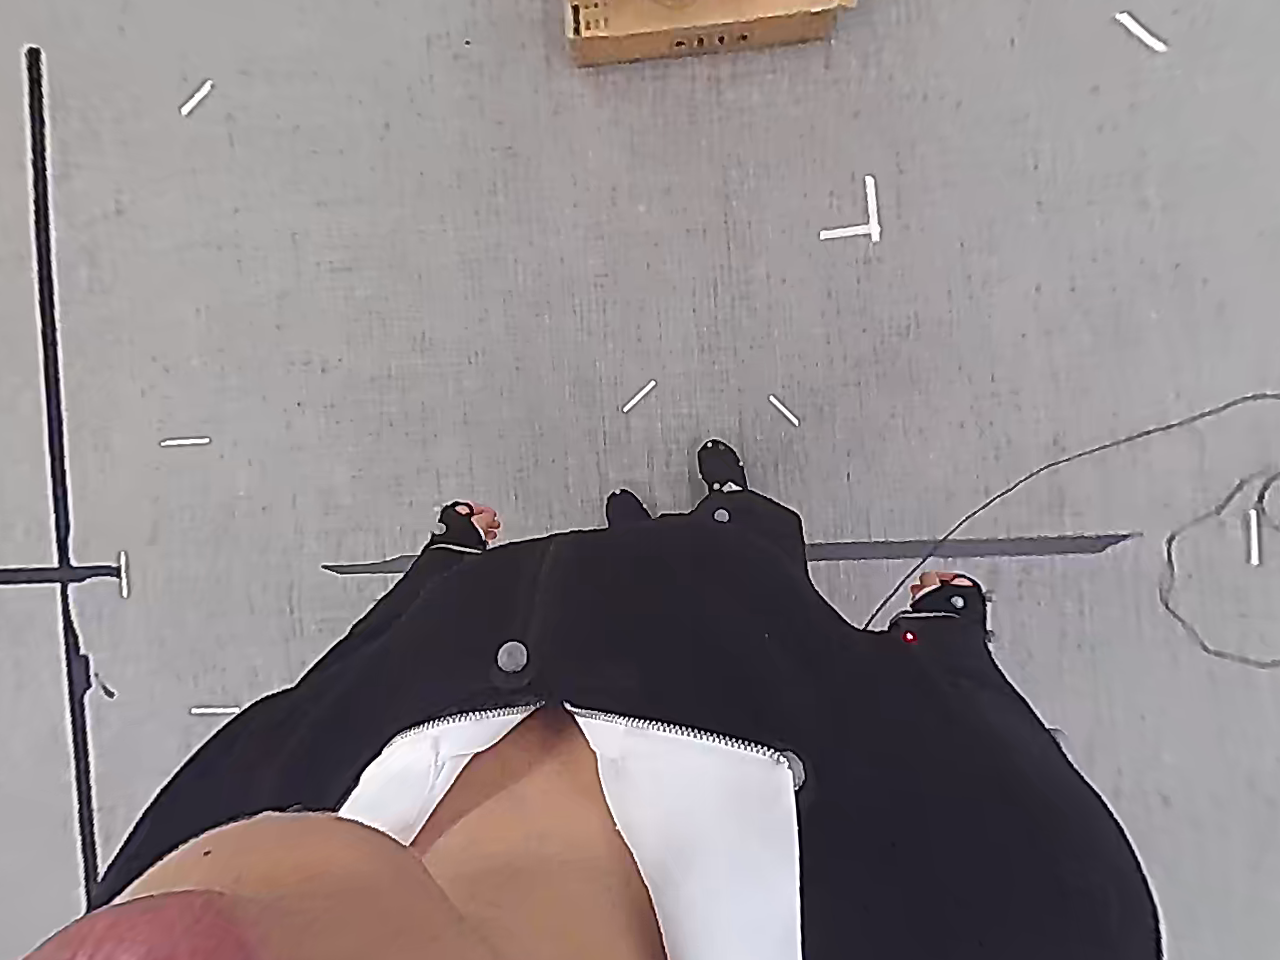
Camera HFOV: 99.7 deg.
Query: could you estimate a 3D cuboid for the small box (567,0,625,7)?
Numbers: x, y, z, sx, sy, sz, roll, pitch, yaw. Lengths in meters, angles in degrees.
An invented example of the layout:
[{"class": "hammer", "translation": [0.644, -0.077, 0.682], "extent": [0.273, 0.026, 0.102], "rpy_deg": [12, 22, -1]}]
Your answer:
[{"class": "small box", "translation": [-0.119, -1.313, 1.315], "extent": [0.168, 0.176, 0.179], "rpy_deg": [-4, 90, 4]}]
